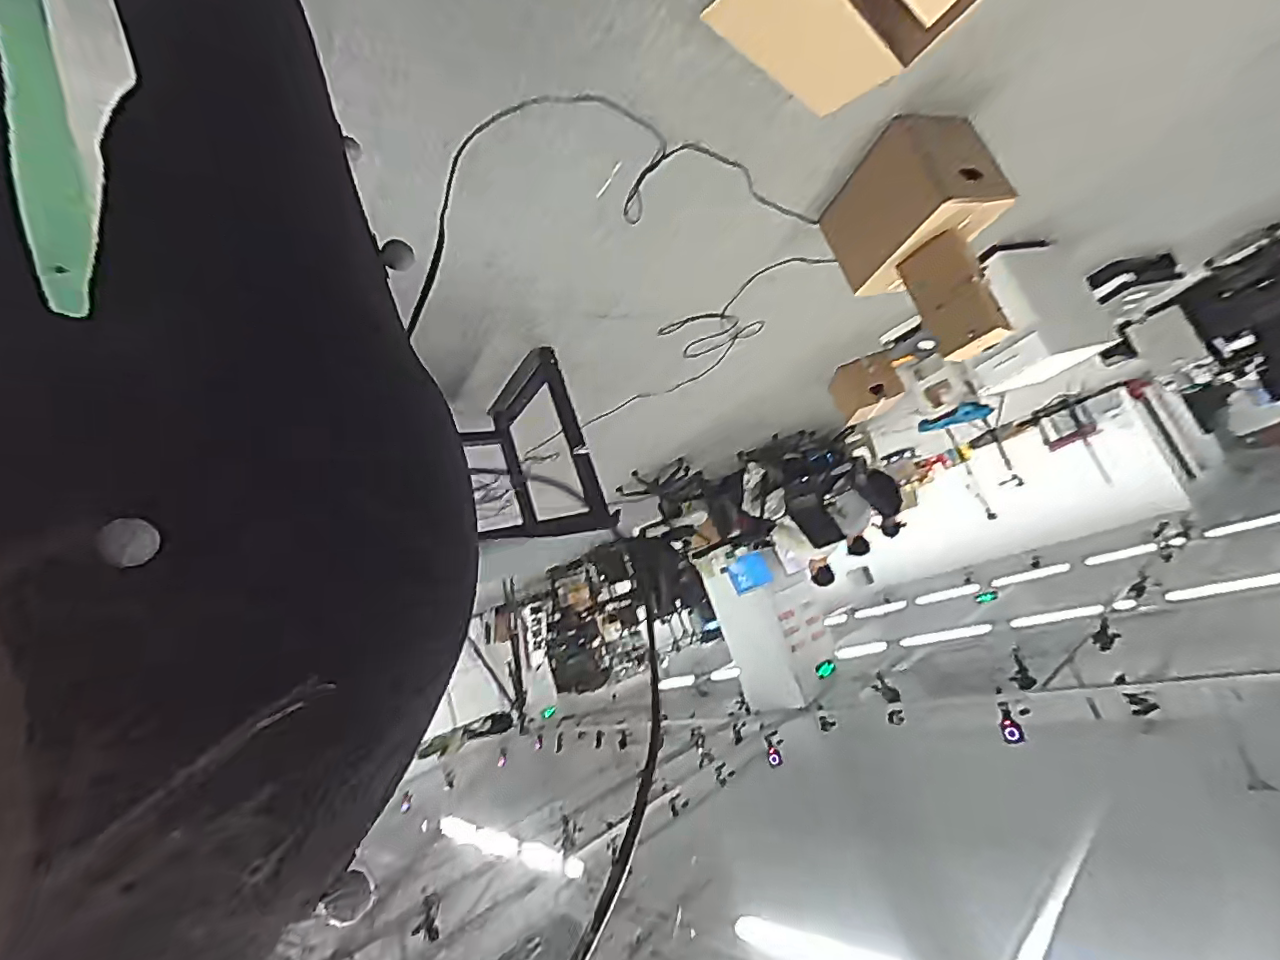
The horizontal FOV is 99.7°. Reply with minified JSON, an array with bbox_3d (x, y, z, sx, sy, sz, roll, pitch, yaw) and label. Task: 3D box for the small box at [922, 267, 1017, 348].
[{"bbox_3d":[0.995,-0.518,1.634,0.179,0.176,0.168,-11,164,-42],"label":"small box"}]
